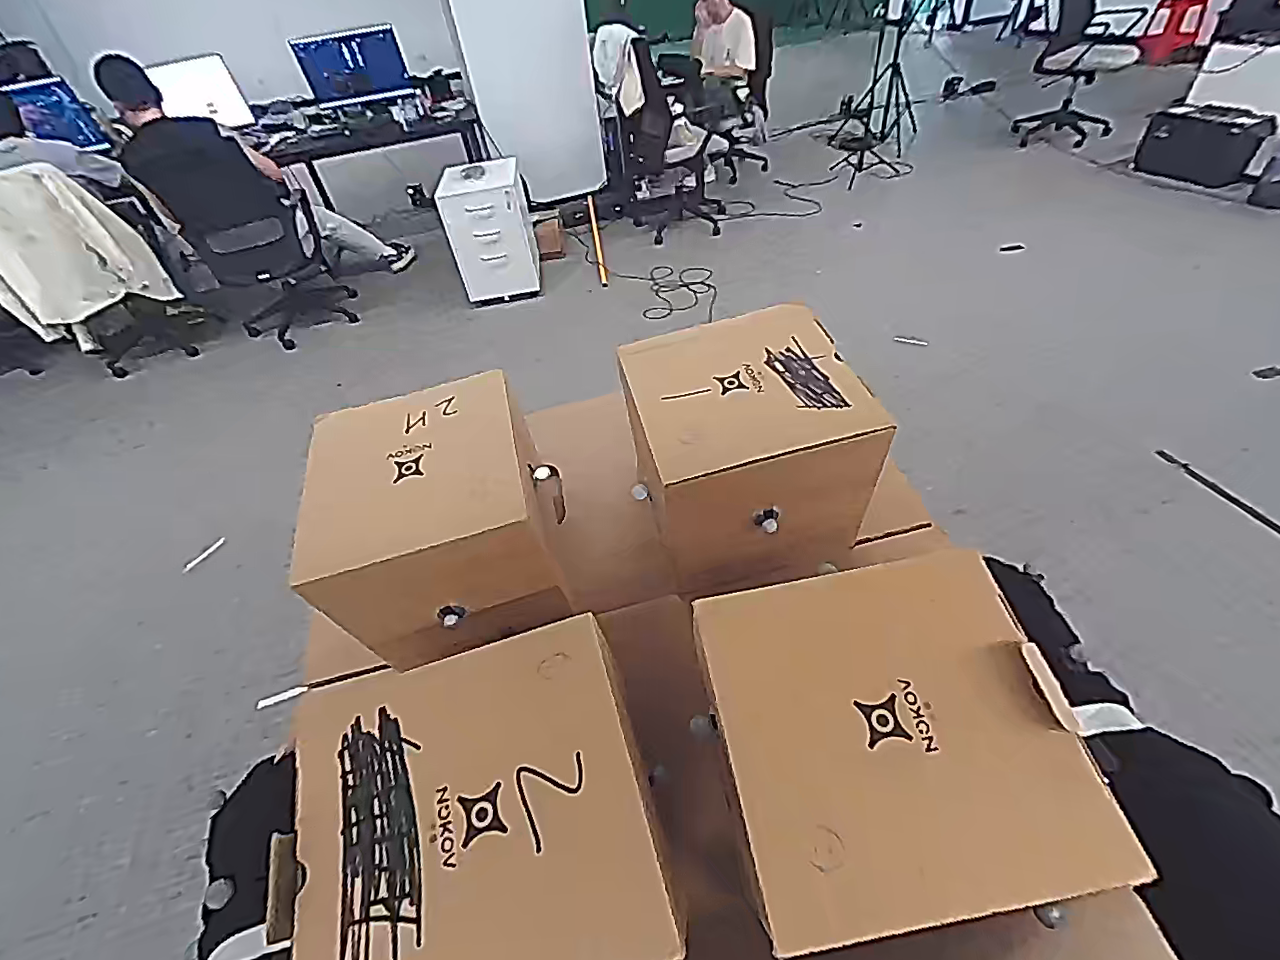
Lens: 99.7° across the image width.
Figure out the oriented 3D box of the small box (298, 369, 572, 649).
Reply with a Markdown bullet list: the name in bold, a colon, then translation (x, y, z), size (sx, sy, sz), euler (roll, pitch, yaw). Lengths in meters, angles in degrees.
- **small box**: translation (-0.167, 0.034, 0.489), size (0.168, 0.176, 0.179), euler (-15, 51, -4)

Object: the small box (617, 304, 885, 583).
- **small box**: translation (0.088, -0.029, 0.498), size (0.179, 0.176, 0.168), euler (-15, 51, -2)
